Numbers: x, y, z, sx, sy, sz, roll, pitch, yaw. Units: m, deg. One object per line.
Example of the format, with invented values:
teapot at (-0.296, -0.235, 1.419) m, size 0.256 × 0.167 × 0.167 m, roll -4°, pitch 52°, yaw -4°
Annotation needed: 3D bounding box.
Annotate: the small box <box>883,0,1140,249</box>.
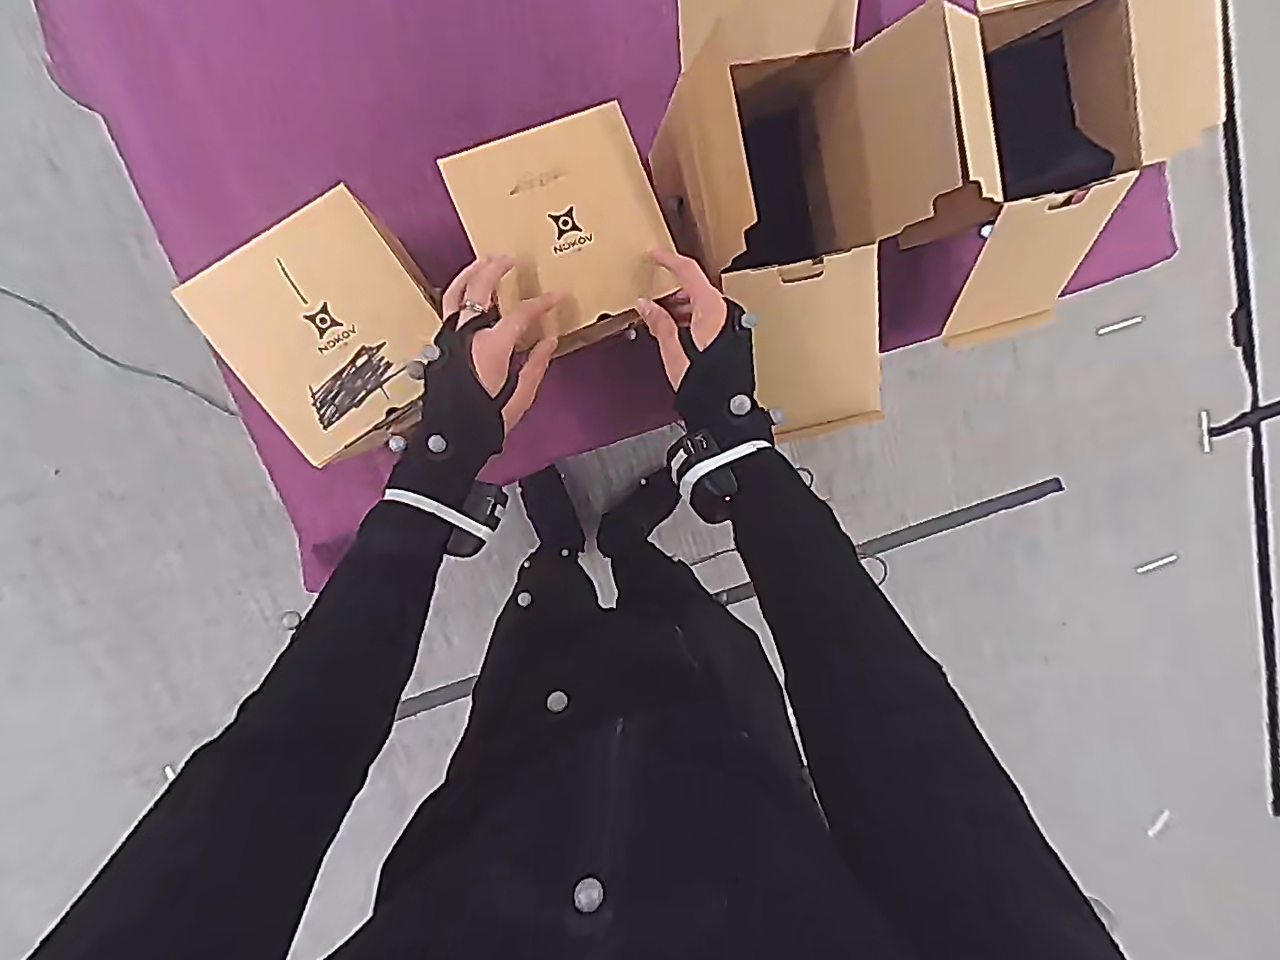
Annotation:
small box at (0.399, -0.385, 0.606) m, size 0.168 × 0.176 × 0.179 m, roll -16°, pitch 101°, yaw -6°
